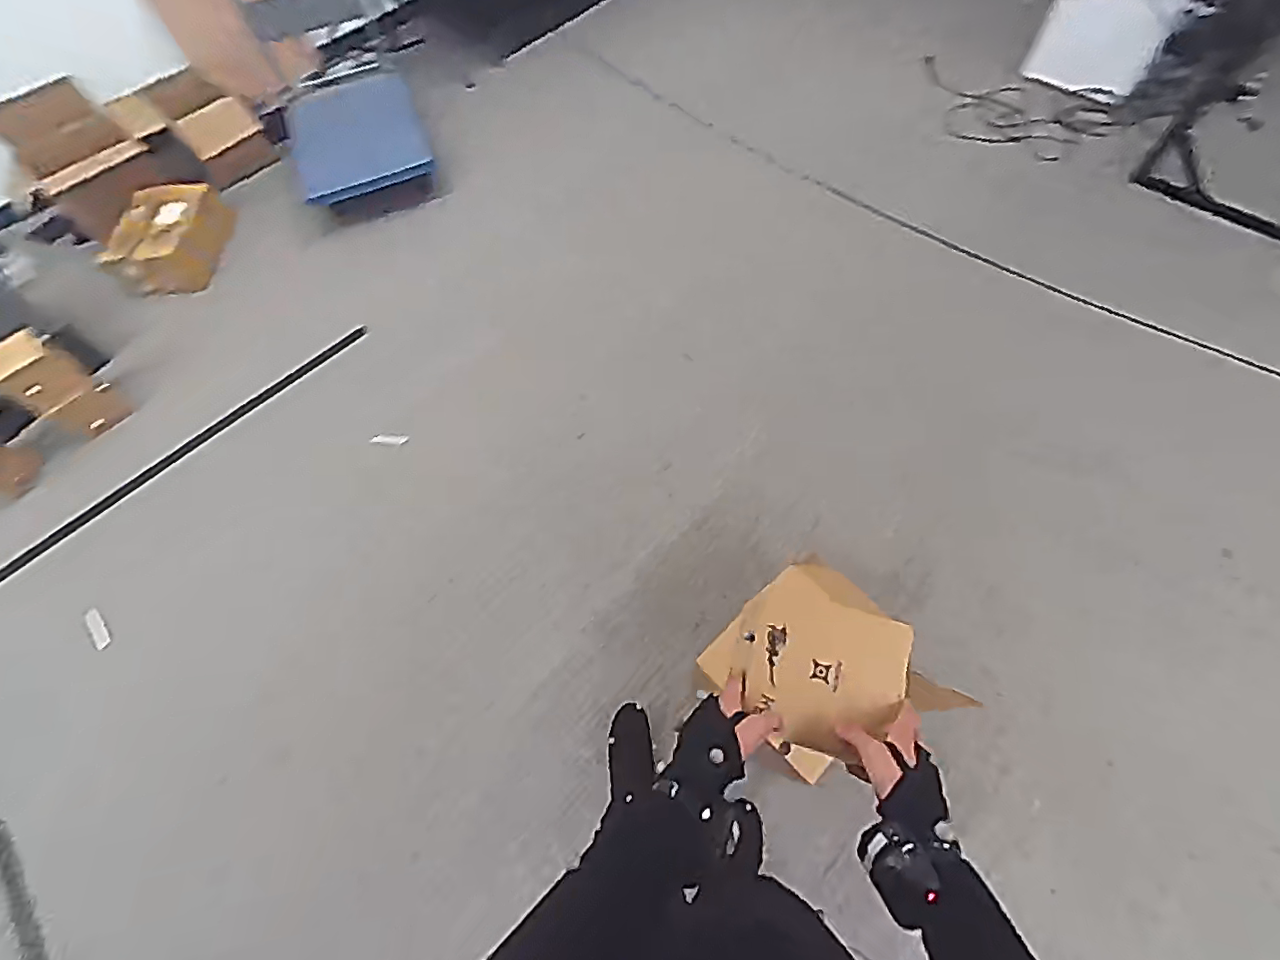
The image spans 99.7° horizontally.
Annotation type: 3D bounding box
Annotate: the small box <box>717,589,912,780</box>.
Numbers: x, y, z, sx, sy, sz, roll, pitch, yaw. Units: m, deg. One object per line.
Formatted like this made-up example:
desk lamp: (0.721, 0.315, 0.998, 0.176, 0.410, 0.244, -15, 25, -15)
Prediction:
small box: (0.209, 0.251, 0.684, 0.179, 0.176, 0.168, 16, 70, 5)
